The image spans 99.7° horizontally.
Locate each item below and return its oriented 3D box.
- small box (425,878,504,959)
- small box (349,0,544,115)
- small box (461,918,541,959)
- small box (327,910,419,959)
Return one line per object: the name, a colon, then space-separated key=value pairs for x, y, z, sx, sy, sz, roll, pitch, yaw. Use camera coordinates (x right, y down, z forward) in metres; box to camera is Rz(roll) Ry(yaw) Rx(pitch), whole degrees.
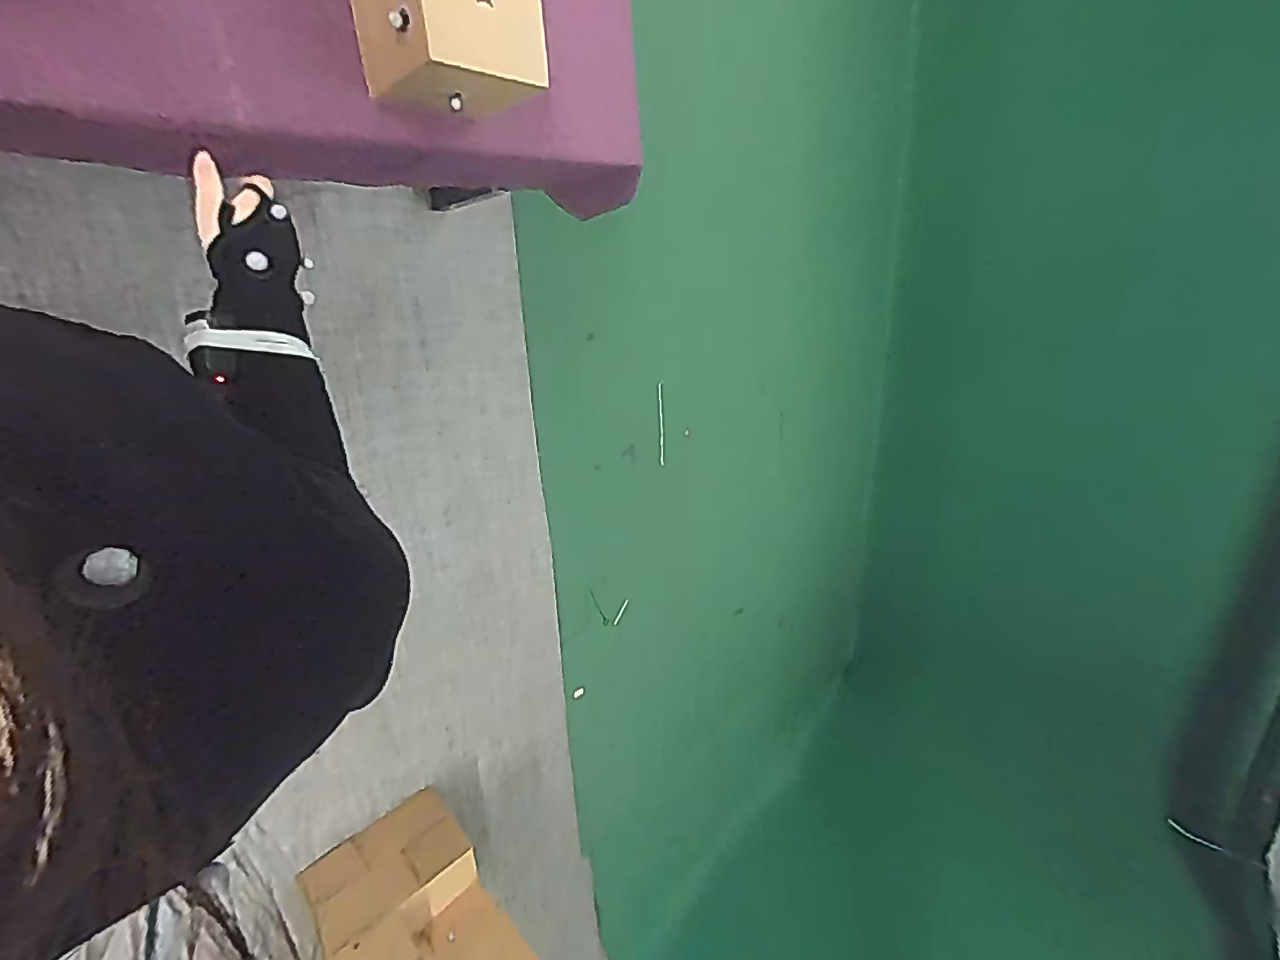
small box: x=-0.507 y=1.329 z=1.575 sx=0.179 sy=0.176 sz=0.168 roll=-25 pitch=121 yaw=-42
small box: x=-0.242 y=-0.578 z=0.666 sx=0.168 sy=0.176 sz=0.179 roll=-23 pitch=117 yaw=-43
small box: x=-0.383 y=1.367 z=1.476 sx=0.179 sy=0.176 sz=0.168 roll=-23 pitch=120 yaw=-42
small box: x=-0.668 y=1.257 z=1.366 sx=0.168 sy=0.176 sz=0.179 roll=-16 pitch=115 yaw=-44
